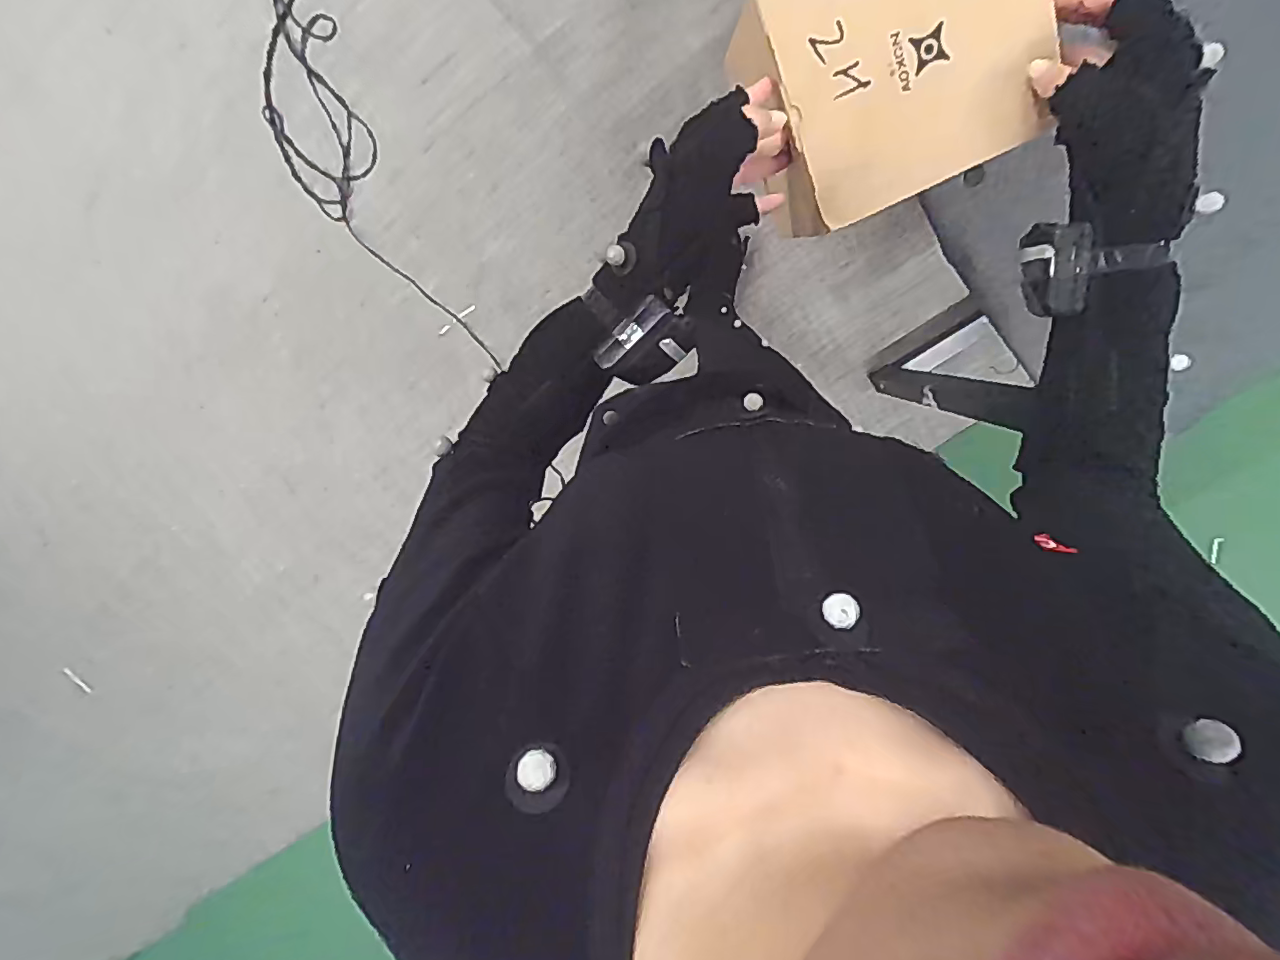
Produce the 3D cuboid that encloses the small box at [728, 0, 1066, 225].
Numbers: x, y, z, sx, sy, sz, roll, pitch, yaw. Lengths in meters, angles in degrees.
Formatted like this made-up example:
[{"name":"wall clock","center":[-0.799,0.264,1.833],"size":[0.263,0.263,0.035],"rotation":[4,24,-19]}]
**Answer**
[{"name":"small box","center":[0.185,-0.324,0.433],"size":[0.179,0.176,0.168],"rotation":[-22,111,12]}]
